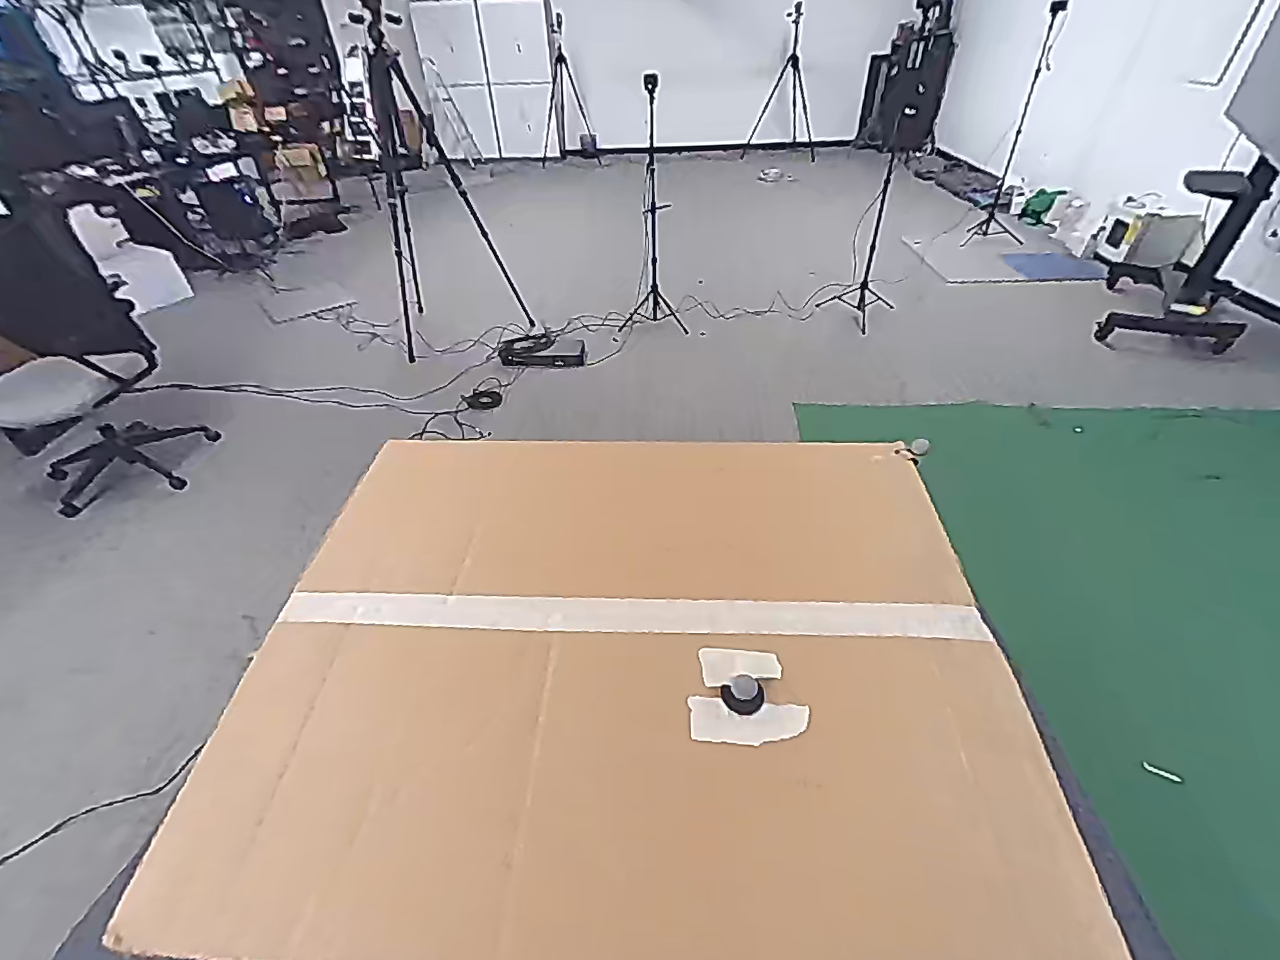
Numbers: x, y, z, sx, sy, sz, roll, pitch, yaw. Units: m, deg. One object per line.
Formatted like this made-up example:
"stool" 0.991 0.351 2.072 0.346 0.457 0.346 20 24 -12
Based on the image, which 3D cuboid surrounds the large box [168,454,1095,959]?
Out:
"large box" -0.002 0.193 0.436 0.408 0.320 0.320 0 46 4
